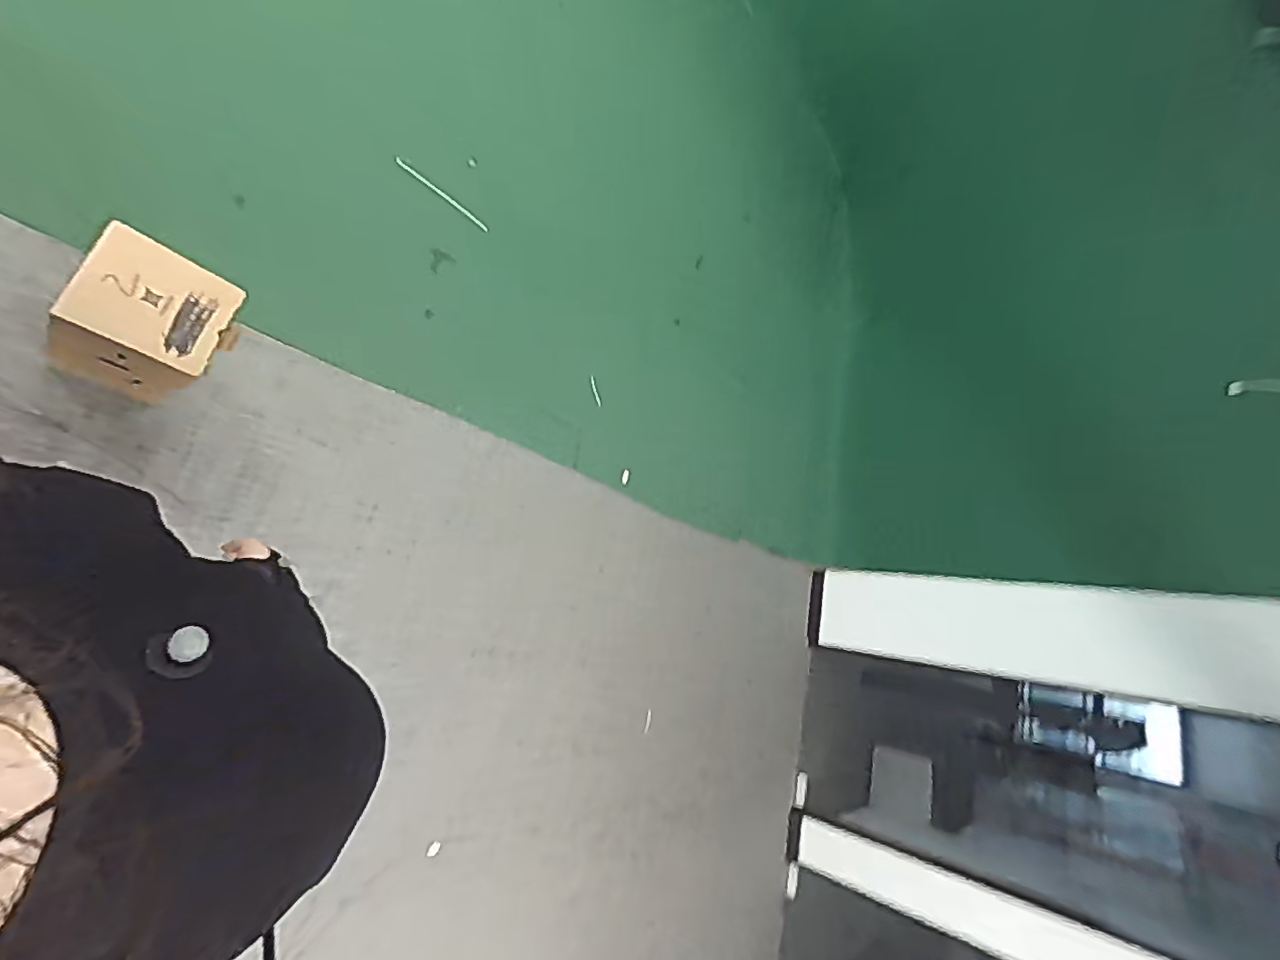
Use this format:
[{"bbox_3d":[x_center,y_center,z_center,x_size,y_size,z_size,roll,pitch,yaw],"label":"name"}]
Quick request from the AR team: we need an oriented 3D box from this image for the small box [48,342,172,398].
[{"bbox_3d":[-1.016,-0.275,1.071,0.179,0.176,0.168,31,66,-44],"label":"small box"}]

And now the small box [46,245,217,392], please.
[{"bbox_3d":[-0.899,-0.272,0.961,0.168,0.176,0.179,30,67,-45],"label":"small box"}]
